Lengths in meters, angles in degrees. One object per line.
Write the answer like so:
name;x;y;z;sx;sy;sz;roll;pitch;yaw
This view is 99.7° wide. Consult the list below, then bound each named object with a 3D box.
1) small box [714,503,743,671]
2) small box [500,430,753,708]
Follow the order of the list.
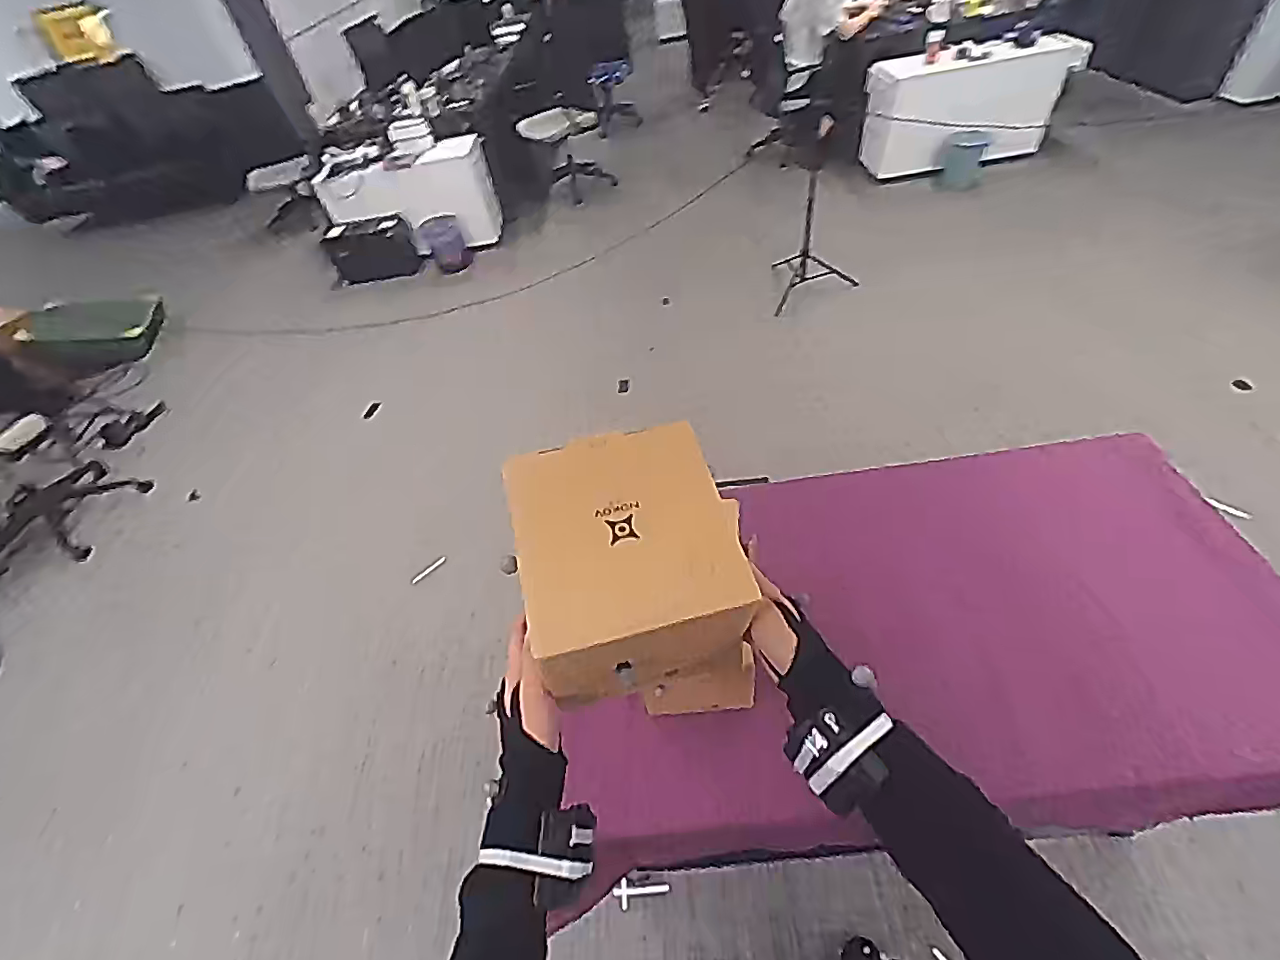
small box;0.048;0.147;0.732;0.179;0.176;0.168;-2;49;9
small box;-0.016;0.088;0.484;0.168;0.176;0.179;-14;55;-9
